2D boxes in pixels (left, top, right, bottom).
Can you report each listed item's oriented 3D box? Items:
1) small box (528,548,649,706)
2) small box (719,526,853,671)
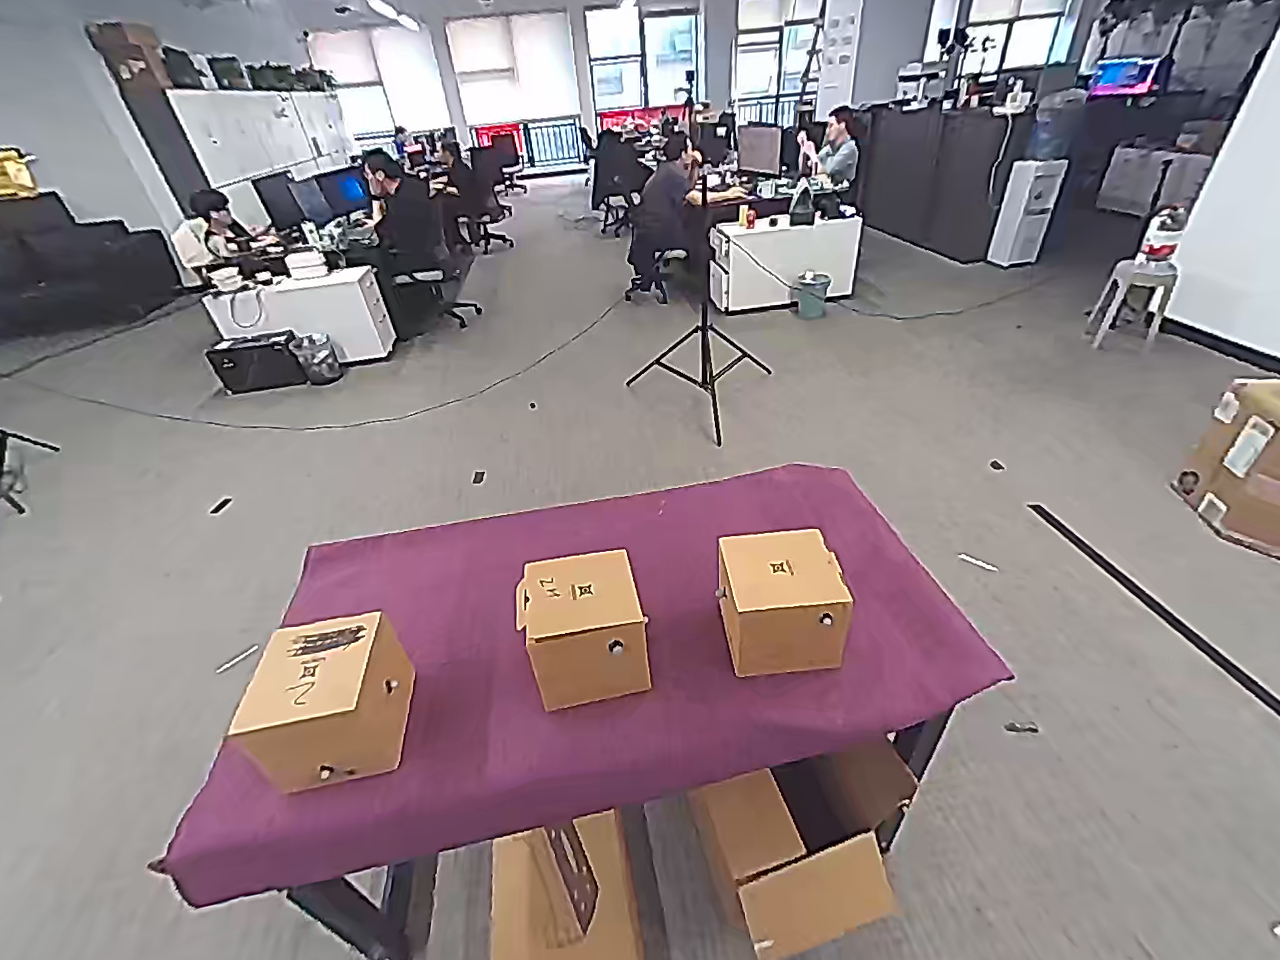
[{"bbox_3d":[-0.083,0.241,0.890,0.179,0.176,0.168,-10,34,-6],"label":"small box"},{"bbox_3d":[0.233,0.200,0.905,0.179,0.176,0.168,-6,36,0],"label":"small box"}]
